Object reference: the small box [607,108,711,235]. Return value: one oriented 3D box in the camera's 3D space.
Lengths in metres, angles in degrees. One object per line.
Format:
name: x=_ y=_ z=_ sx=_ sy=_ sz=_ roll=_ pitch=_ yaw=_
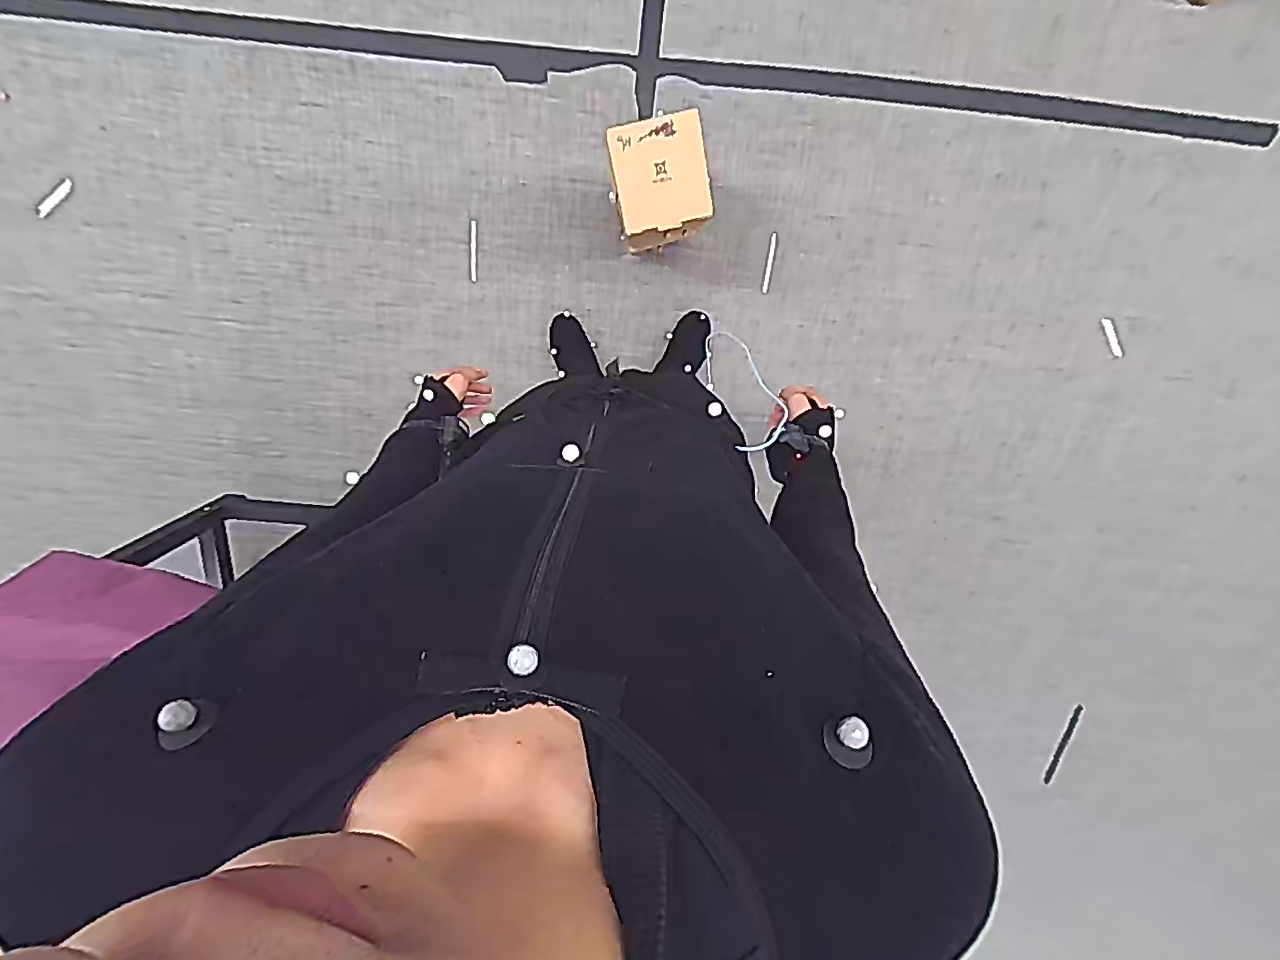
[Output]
small box: x=0.036 y=-0.578 z=1.040 sx=0.168 sy=0.176 sz=0.179 roll=-11 pitch=111 yaw=3
